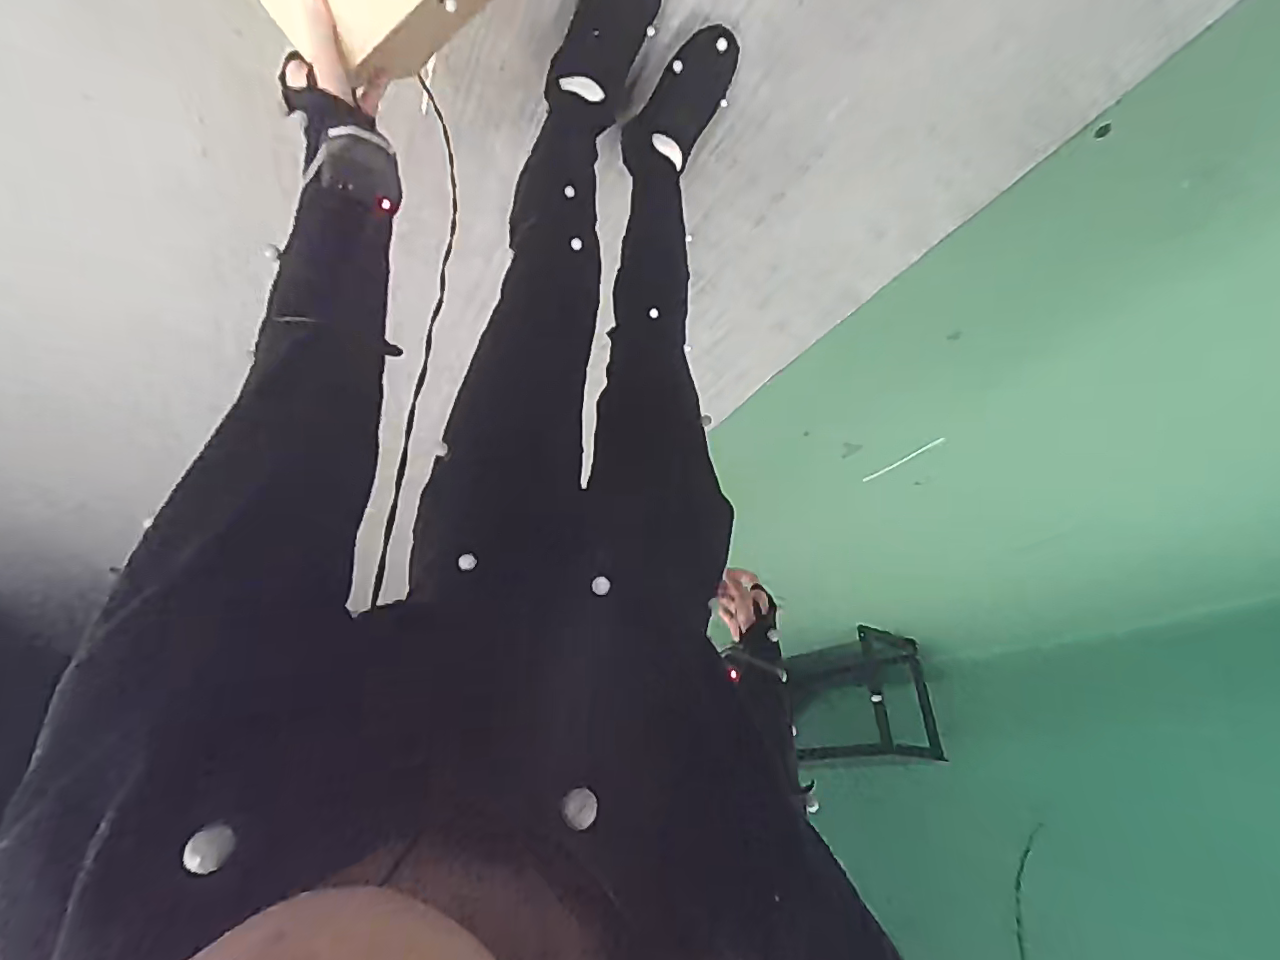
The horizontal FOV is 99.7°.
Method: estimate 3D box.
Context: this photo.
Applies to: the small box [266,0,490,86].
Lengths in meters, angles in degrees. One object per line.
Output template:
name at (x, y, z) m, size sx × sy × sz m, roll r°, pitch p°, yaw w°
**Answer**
small box at (-0.248, -0.502, 0.494) m, size 0.179 × 0.176 × 0.168 m, roll -24°, pitch 123°, yaw 24°
